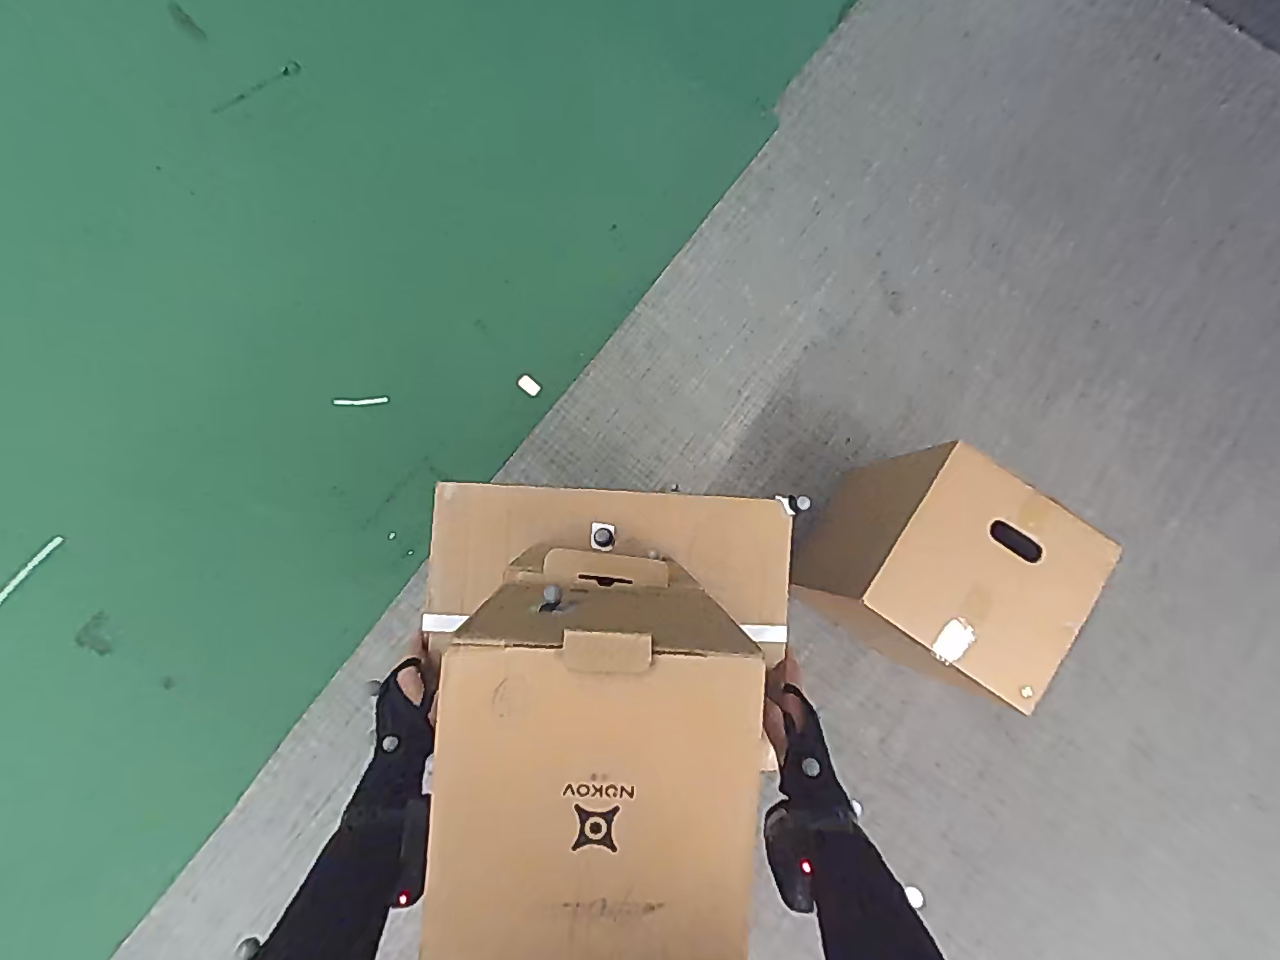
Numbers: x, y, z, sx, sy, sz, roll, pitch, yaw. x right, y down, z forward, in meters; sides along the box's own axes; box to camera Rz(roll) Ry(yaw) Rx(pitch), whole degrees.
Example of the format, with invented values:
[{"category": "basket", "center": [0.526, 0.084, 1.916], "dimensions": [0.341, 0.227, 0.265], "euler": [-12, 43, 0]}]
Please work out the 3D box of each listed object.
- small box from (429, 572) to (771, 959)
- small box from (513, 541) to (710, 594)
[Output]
[{"category": "small box", "center": [-0.023, 0.160, 0.357], "dimensions": [0.168, 0.176, 0.179], "euler": [5, 88, -3]}, {"category": "small box", "center": [-0.038, 0.157, 0.519], "dimensions": [0.168, 0.176, 0.179], "euler": [7, 89, -3]}]
